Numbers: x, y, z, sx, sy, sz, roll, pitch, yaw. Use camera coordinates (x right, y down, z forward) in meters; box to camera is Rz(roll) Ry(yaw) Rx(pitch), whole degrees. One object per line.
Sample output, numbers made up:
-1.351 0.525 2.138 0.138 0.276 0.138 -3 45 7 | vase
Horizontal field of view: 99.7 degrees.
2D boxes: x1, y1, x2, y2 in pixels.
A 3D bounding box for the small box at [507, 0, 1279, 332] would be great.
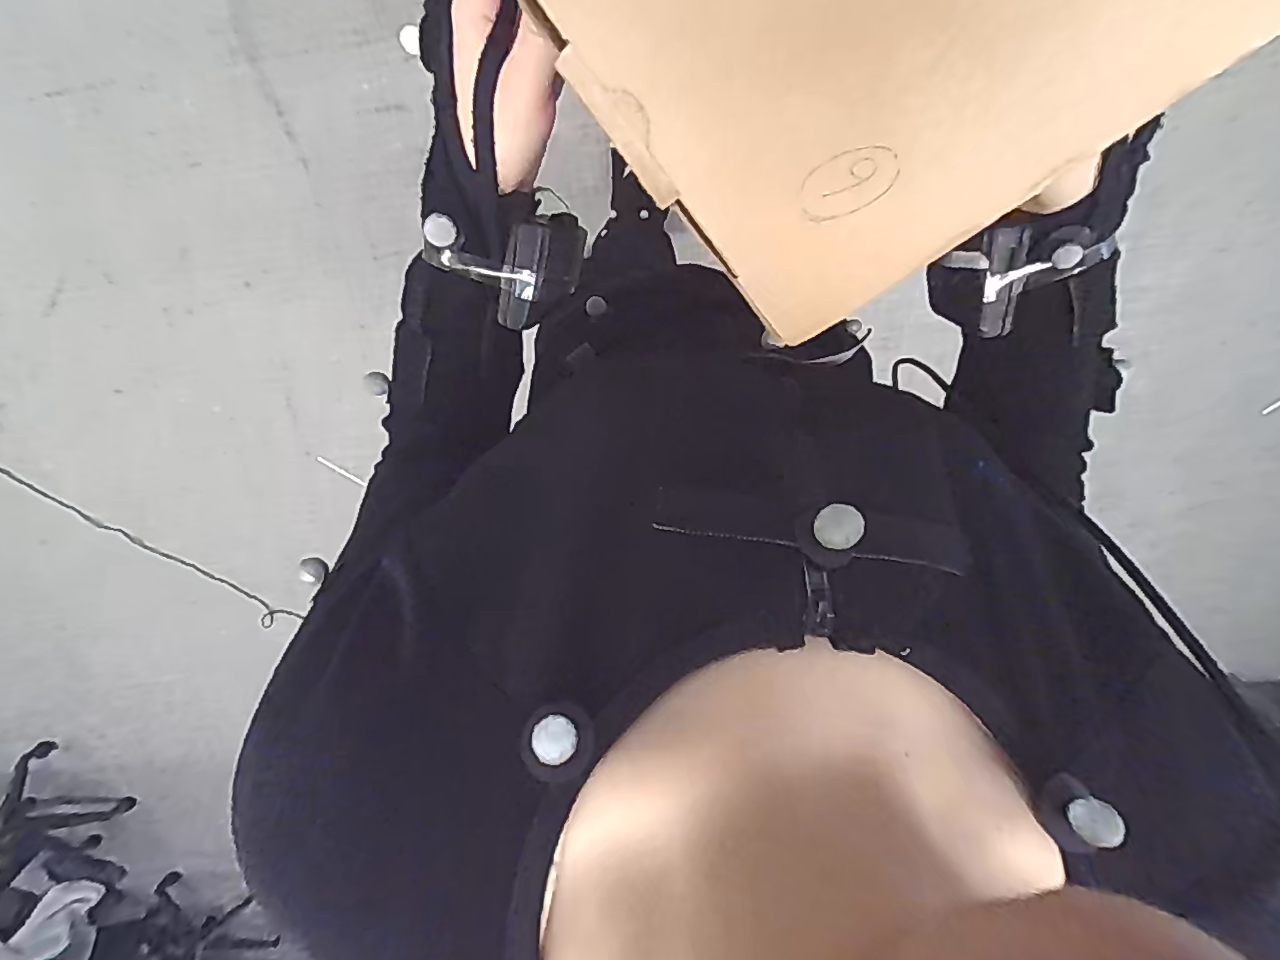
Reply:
0.064 -0.186 0.166 0.179 0.176 0.168 -30 121 29 | small box
